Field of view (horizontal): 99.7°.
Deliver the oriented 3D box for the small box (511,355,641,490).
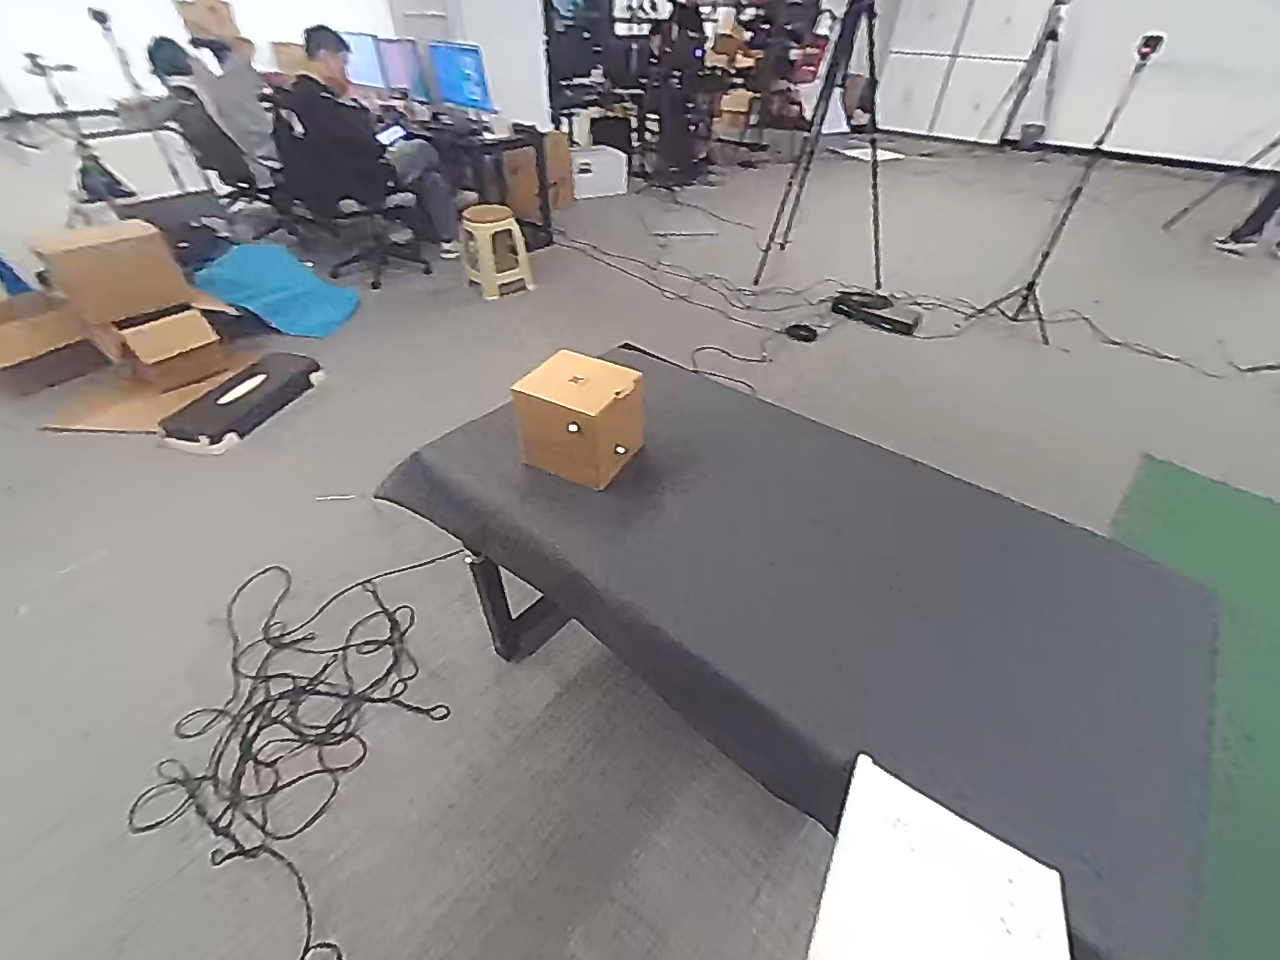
[{"bbox_3d":[-0.113,-0.107,1.005,0.179,0.176,0.168,20,43,20],"label":"small box"}]
